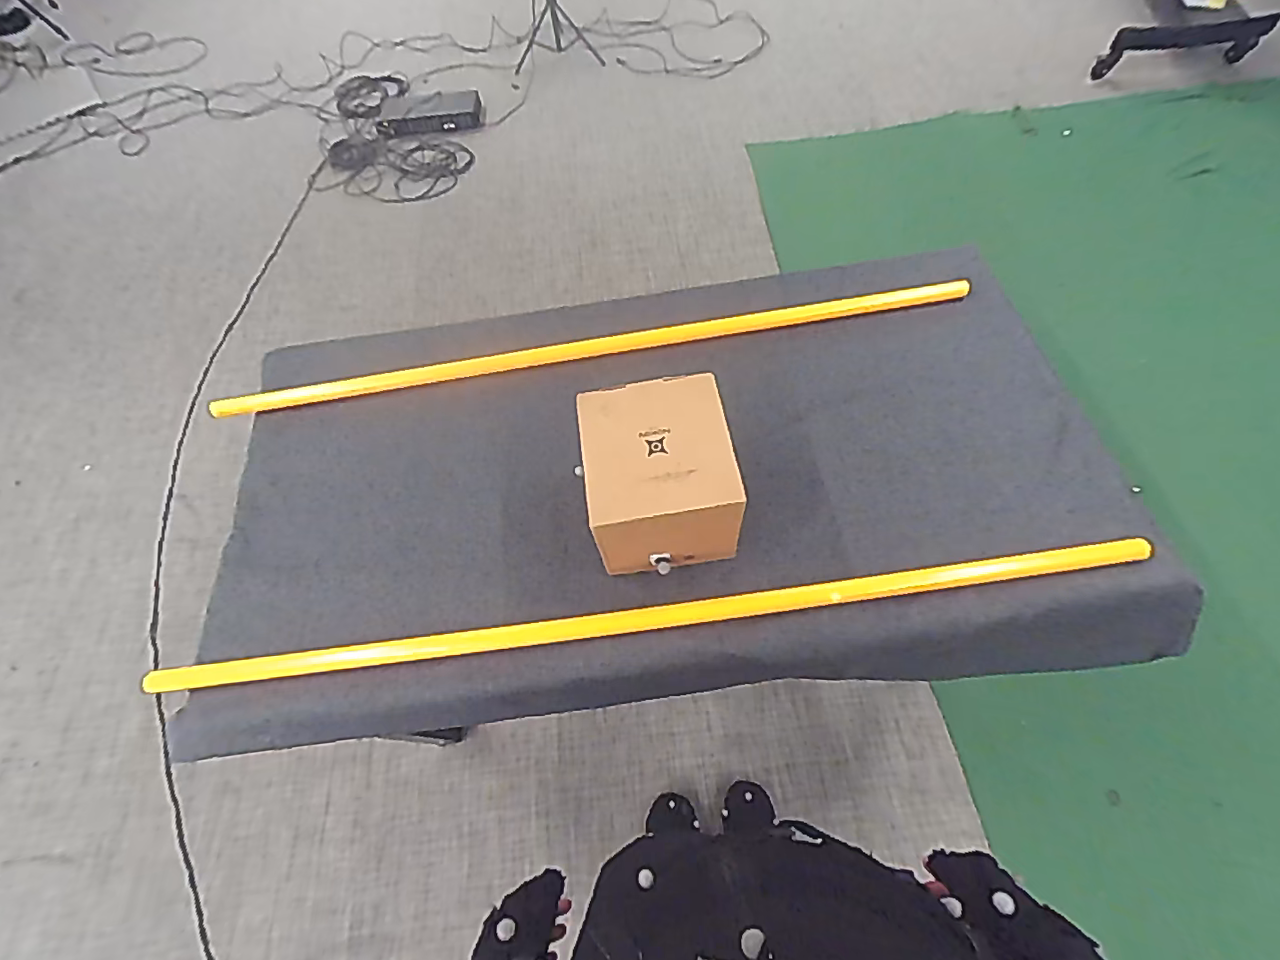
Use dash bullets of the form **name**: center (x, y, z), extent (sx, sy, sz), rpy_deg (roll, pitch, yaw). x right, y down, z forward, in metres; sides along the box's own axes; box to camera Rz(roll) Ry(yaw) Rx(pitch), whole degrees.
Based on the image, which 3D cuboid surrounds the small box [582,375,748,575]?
- **small box**: center (0.028, -0.001, 0.671), extent (0.168, 0.176, 0.179), rpy_deg (-10, 62, 1)
